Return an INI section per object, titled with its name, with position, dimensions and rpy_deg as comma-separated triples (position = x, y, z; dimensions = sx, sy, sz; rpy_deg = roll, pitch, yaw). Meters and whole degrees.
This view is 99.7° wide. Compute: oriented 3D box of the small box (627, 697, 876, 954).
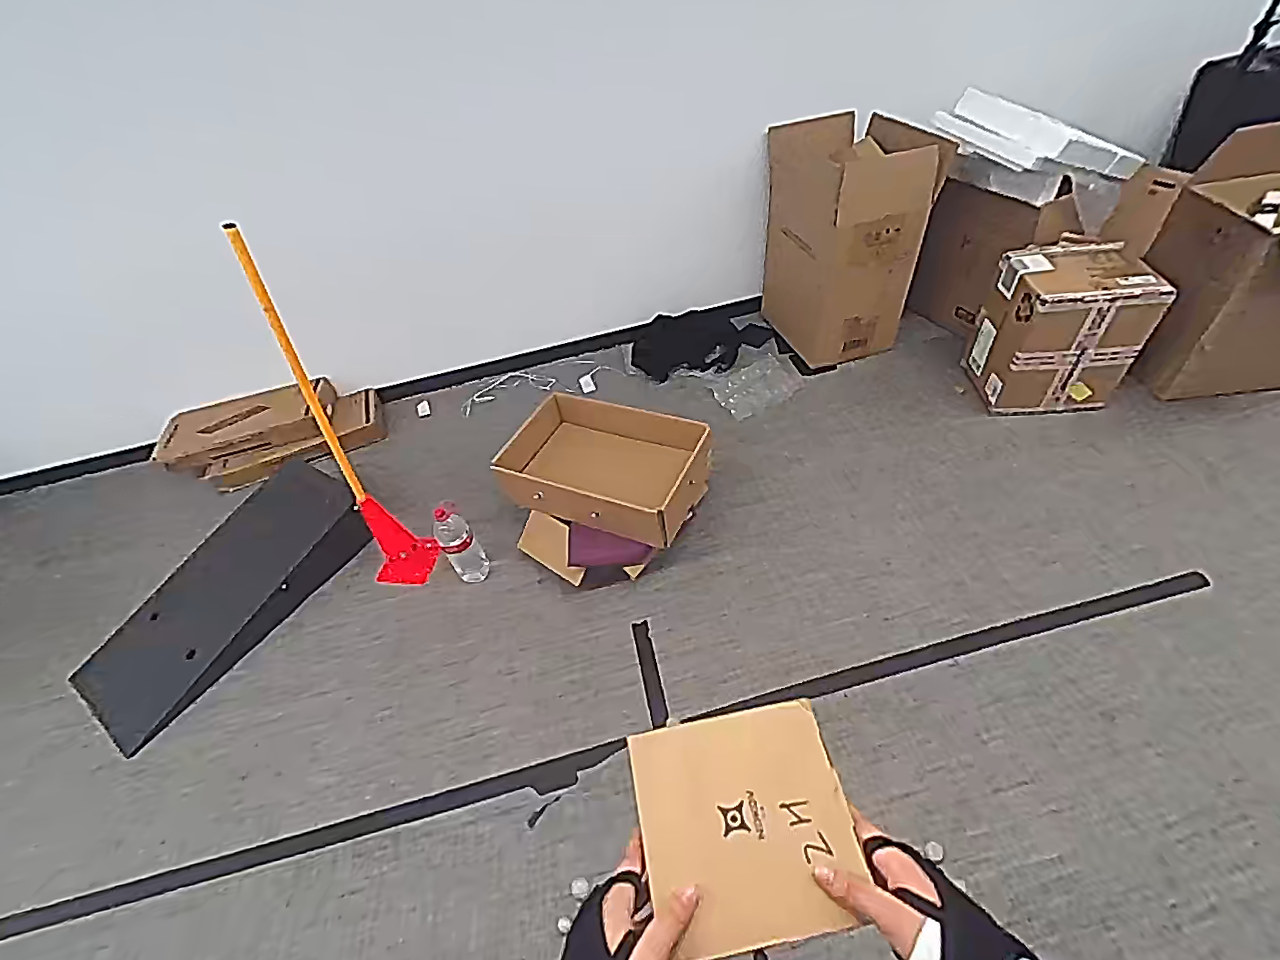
[small box]
position = 0.091, 0.329, 0.518
dimensions = 0.179, 0.176, 0.168
rpy_deg = -10, 52, -2
